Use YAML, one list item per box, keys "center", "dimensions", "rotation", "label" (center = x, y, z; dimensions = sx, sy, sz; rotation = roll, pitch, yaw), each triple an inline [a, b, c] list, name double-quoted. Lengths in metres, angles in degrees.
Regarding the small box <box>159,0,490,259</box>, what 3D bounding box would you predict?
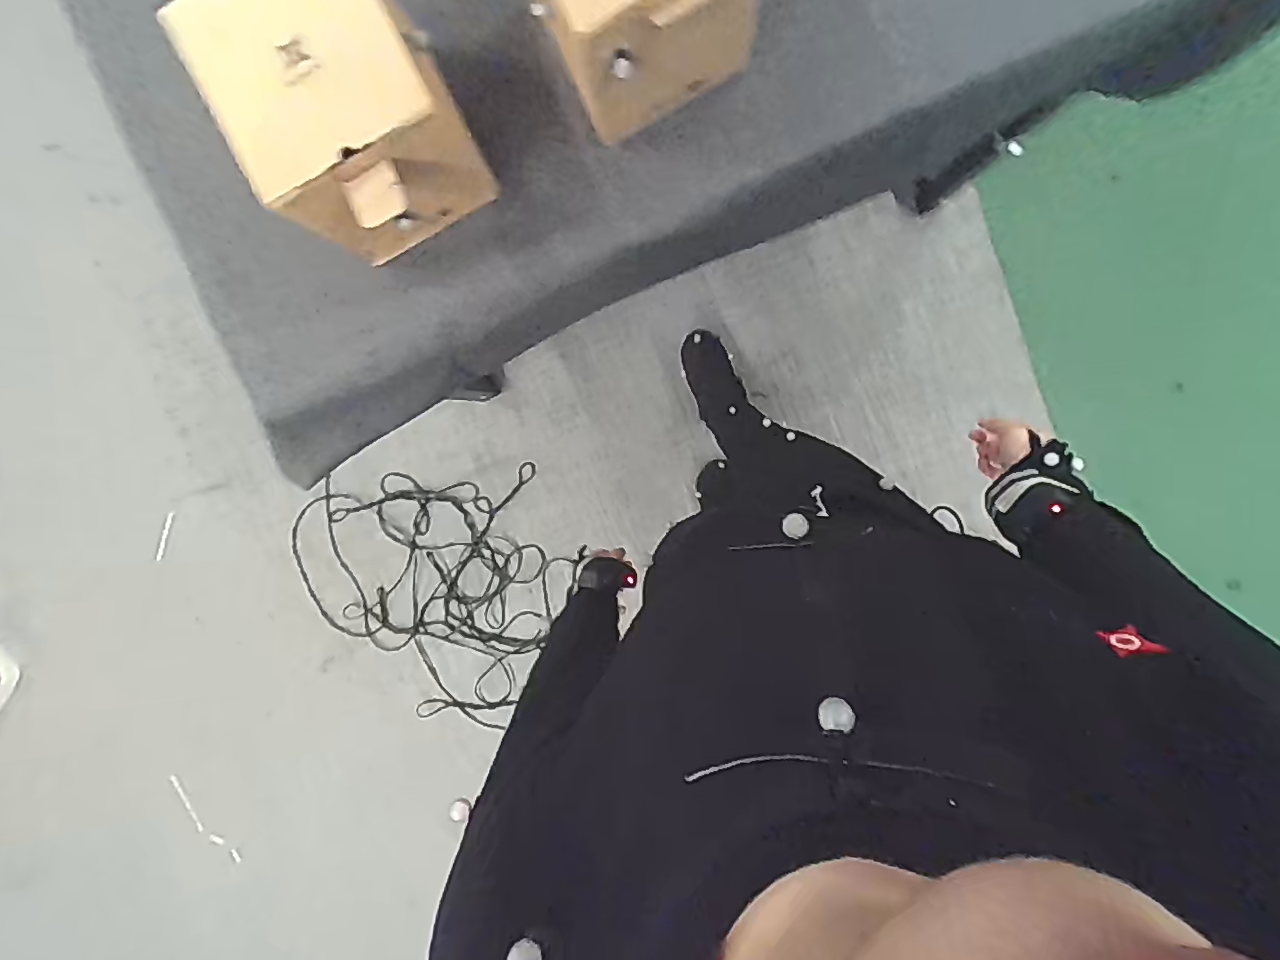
- center: [-0.272, -0.345, 0.511]
  dimensions: [0.168, 0.176, 0.179]
  rotation: [-28, 94, 5]
  label: "small box"
